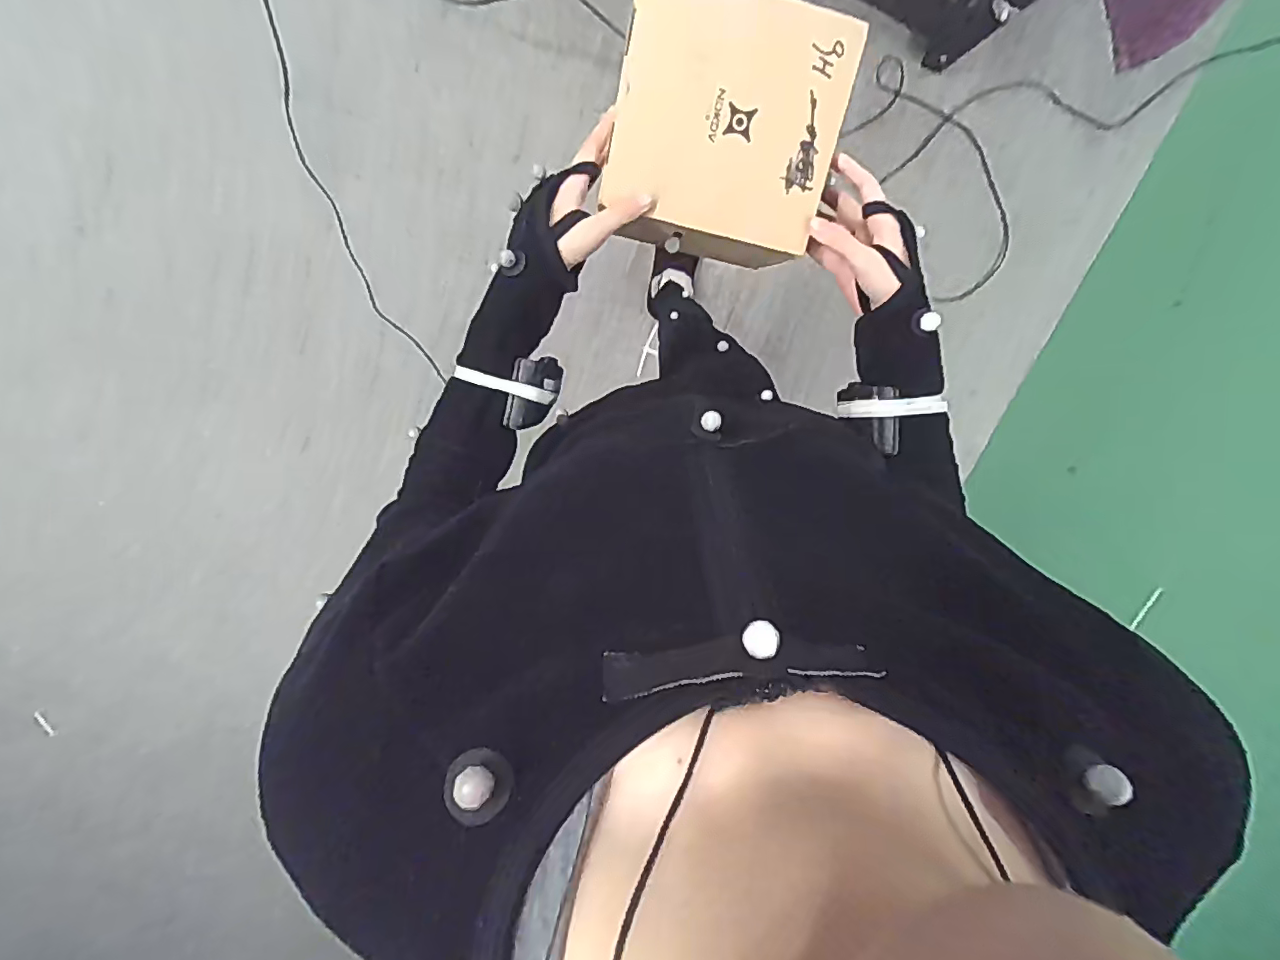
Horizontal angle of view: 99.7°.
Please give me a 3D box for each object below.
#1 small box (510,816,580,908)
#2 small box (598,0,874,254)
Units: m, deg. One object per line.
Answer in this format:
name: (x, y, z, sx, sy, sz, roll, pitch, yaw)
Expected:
small box: (-0.302, 1.232, 1.754, 0.179, 0.176, 0.168, 19, 104, -9)
small box: (0.067, -0.314, 0.485, 0.179, 0.176, 0.168, 12, 105, -5)
